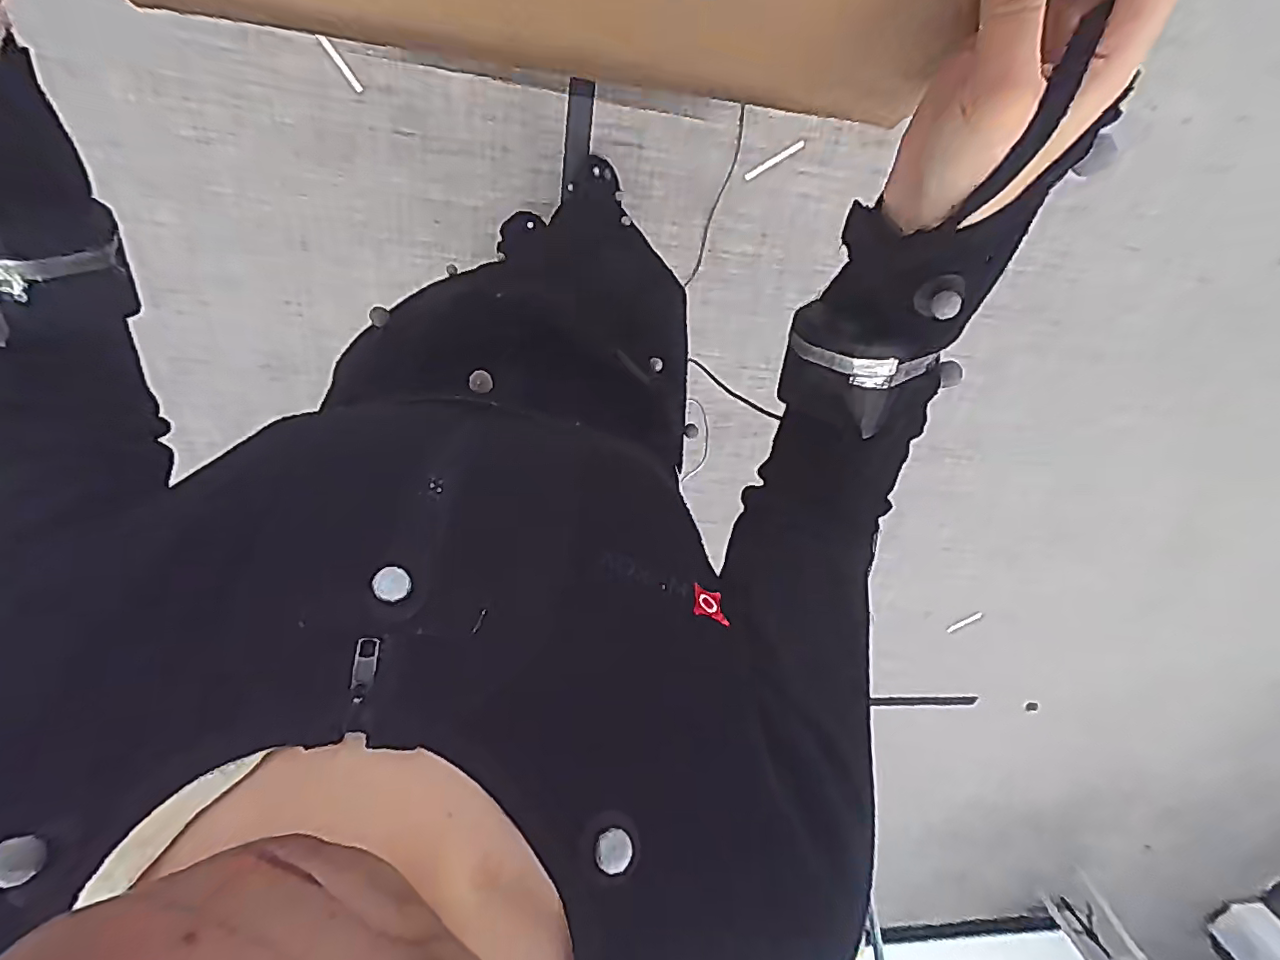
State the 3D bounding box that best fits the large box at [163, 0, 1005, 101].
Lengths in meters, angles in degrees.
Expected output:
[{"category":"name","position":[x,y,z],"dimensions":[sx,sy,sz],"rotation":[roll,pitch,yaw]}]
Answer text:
[{"category":"large box","position":[-0.024,-0.356,0.124],"dimensions":[0.408,0.320,0.320],"rotation":[3,100,-7]}]
